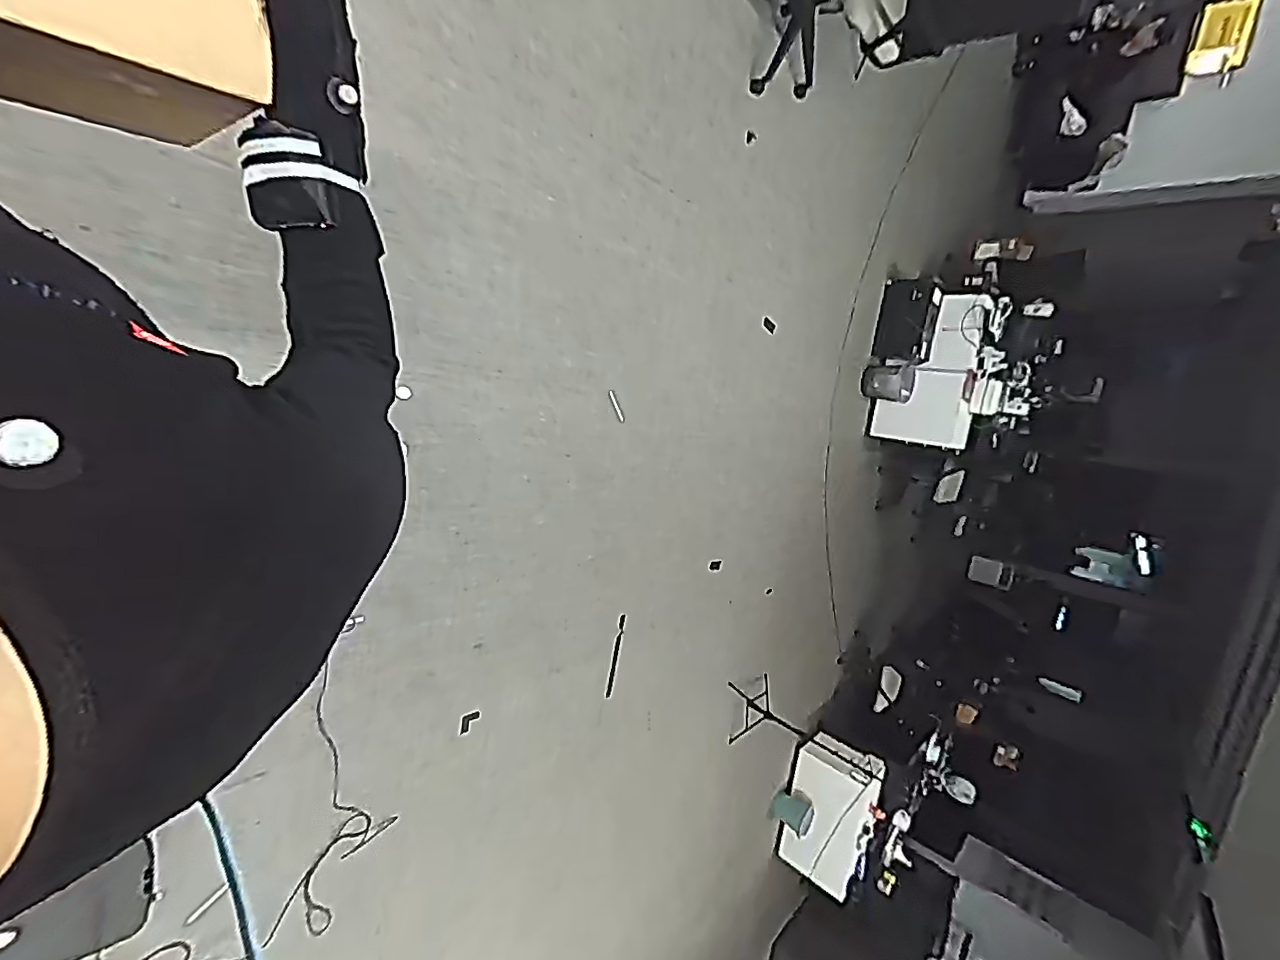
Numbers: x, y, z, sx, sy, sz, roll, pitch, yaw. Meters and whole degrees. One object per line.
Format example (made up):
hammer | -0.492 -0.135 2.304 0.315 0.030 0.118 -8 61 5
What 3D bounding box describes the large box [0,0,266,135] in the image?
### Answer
large box | -0.501 -0.447 0.306 0.408 0.320 0.320 -10 115 -47
